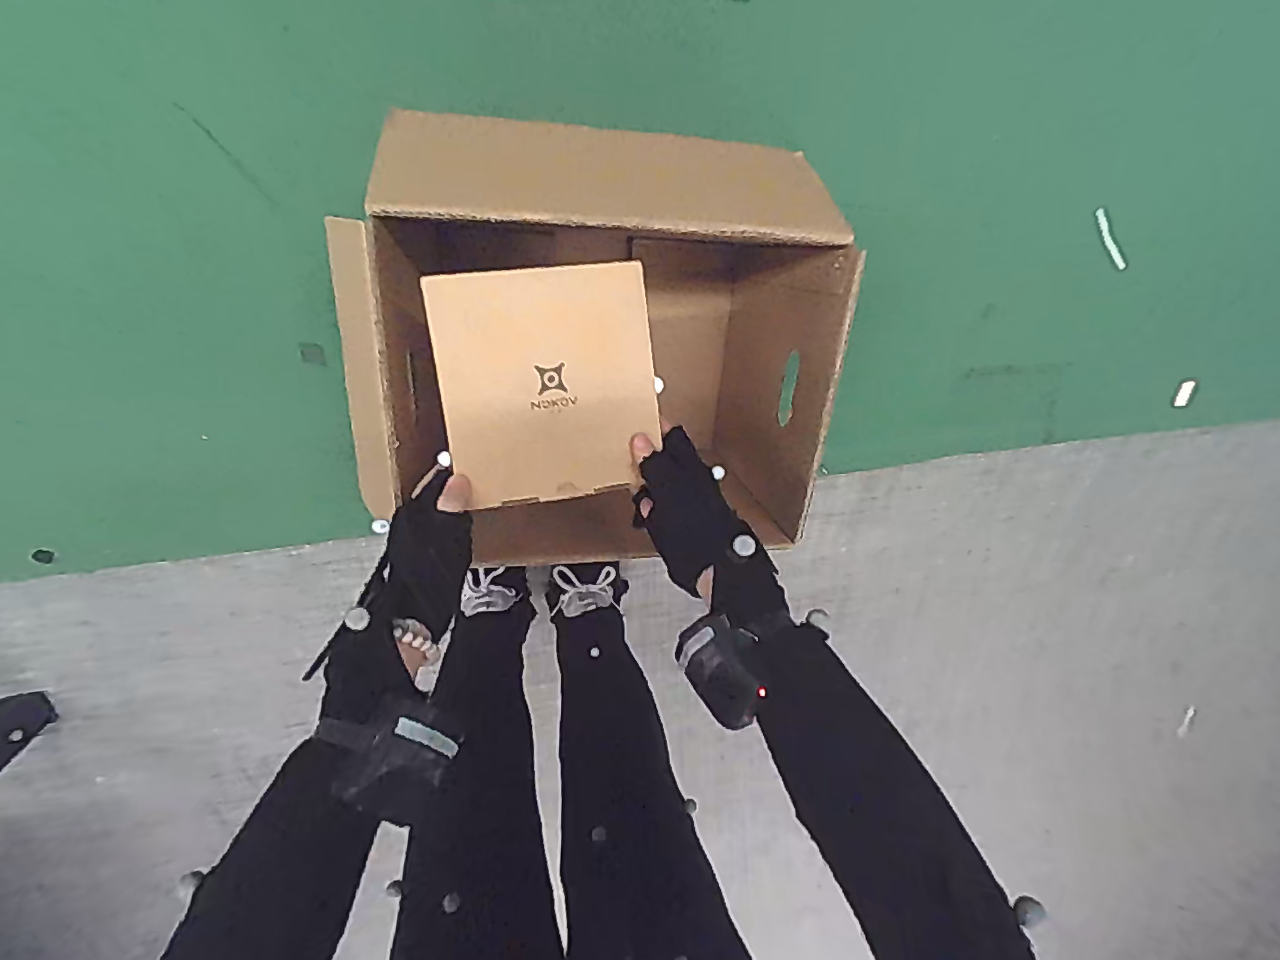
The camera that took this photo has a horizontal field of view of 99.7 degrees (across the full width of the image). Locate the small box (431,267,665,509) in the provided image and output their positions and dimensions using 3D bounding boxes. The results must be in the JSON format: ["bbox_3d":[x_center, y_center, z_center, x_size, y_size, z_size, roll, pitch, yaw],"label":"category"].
[{"bbox_3d":[-0.085,-0.081,0.497,0.168,0.176,0.179,-8,99,-12],"label":"small box"}]
